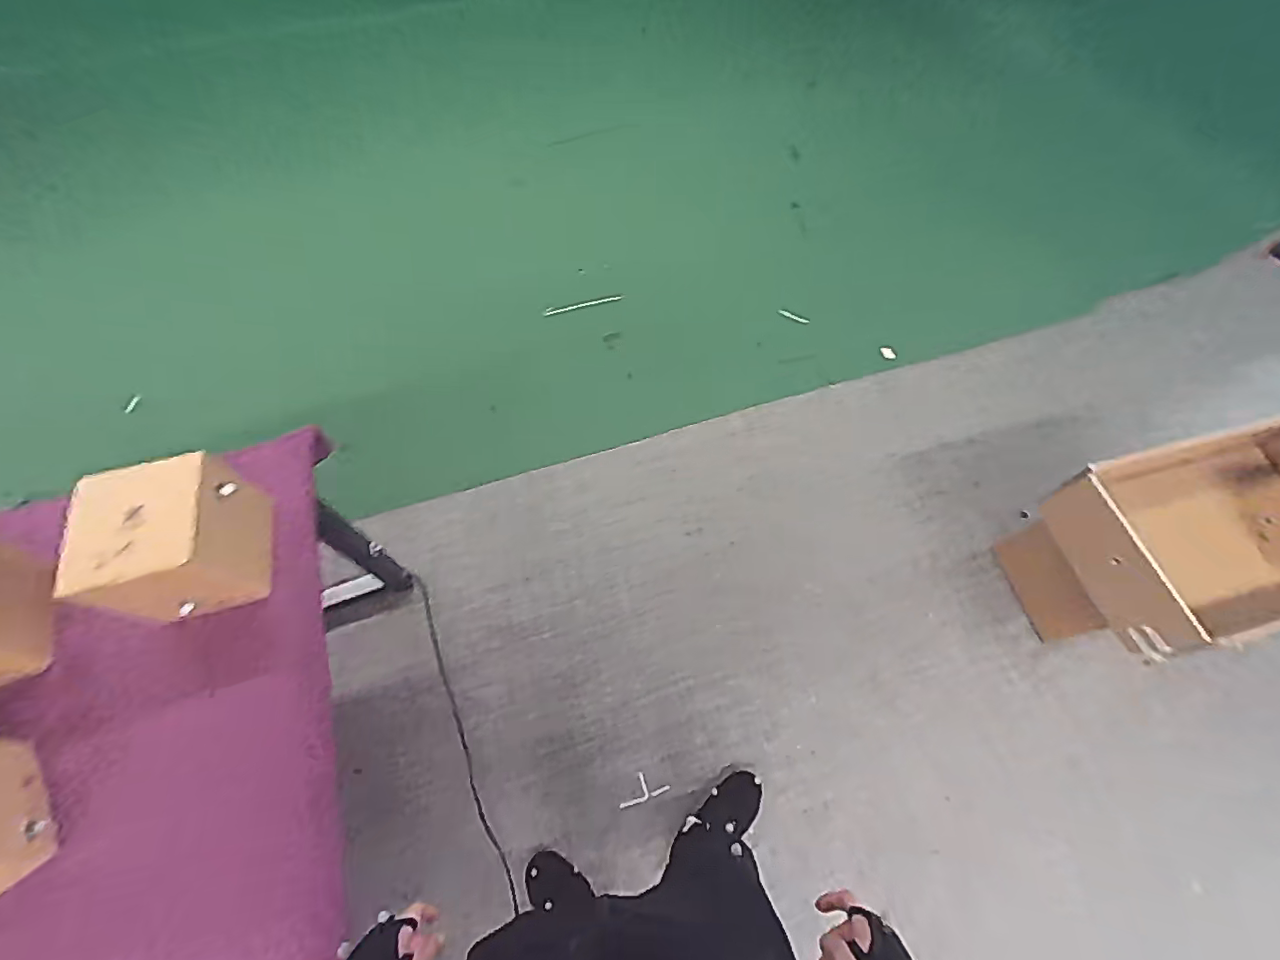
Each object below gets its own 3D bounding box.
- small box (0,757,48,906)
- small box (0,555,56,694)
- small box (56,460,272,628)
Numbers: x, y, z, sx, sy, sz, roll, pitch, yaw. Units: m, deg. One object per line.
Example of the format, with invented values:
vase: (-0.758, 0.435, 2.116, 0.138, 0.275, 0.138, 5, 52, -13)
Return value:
small box: (-0.855, 0.443, 0.625, 0.179, 0.176, 0.168, -35, 68, -16)
small box: (-0.972, 0.207, 0.747, 0.168, 0.176, 0.179, -22, 66, -11)
small box: (-0.676, 0.099, 0.796, 0.168, 0.176, 0.179, -15, 64, -5)
